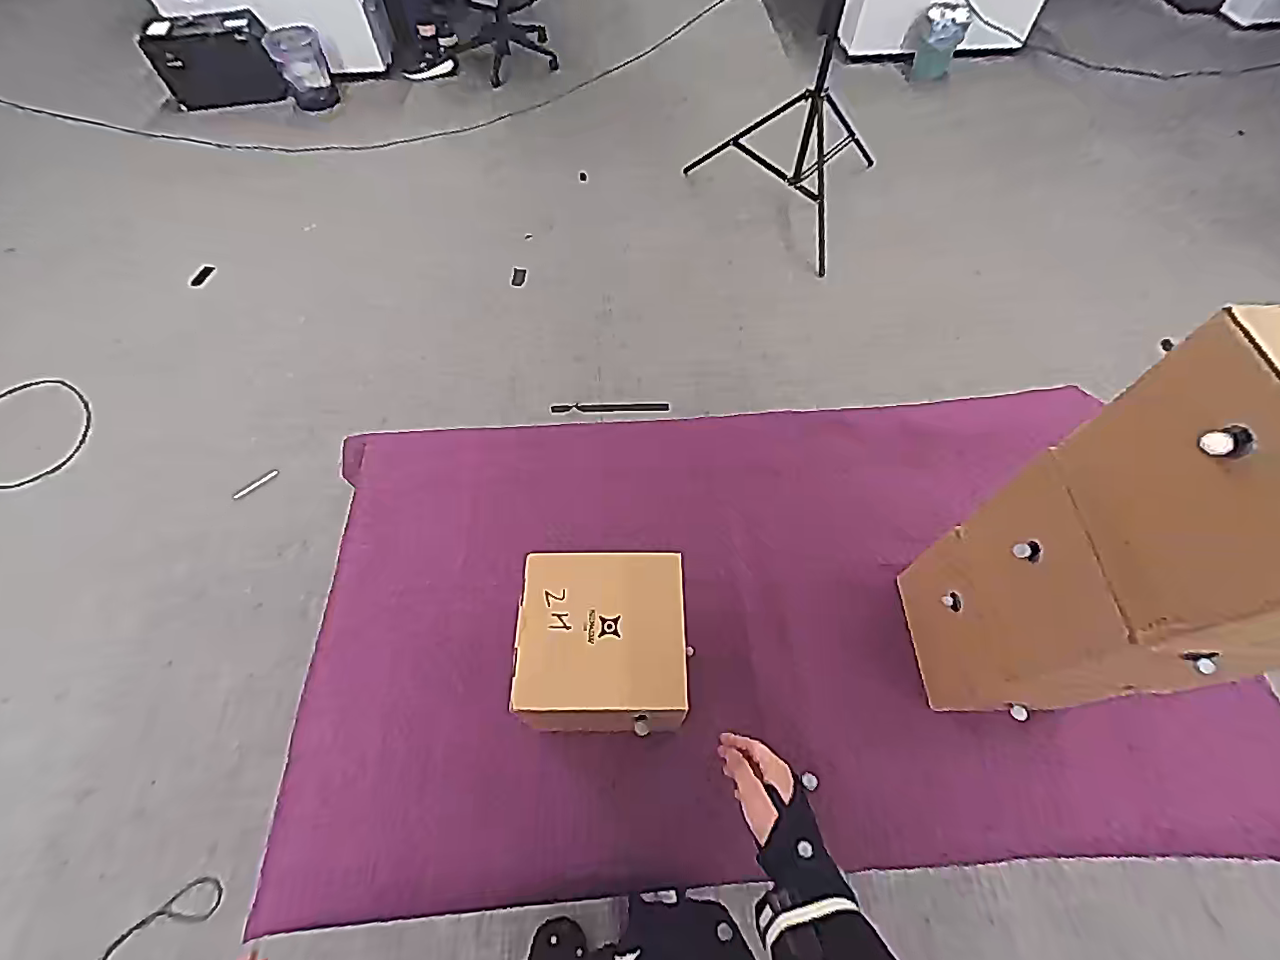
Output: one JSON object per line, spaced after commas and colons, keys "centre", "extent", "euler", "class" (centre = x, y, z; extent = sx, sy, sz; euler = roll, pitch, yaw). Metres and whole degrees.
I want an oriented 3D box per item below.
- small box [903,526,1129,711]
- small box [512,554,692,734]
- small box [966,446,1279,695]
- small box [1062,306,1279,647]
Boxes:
{"centre": [0.440, 0.168, 0.642], "extent": [0.168, 0.176, 0.179], "euler": [-1, 59, 1], "class": "small box"}
{"centre": [-0.036, 0.195, 0.630], "extent": [0.179, 0.176, 0.168], "euler": [-1, 58, 1], "class": "small box"}
{"centre": [0.439, 0.087, 0.499], "extent": [0.168, 0.176, 0.179], "euler": [1, 58, 2], "class": "small box"}
{"centre": [0.438, 0.008, 0.356], "extent": [0.168, 0.176, 0.179], "euler": [0, 58, 2], "class": "small box"}
